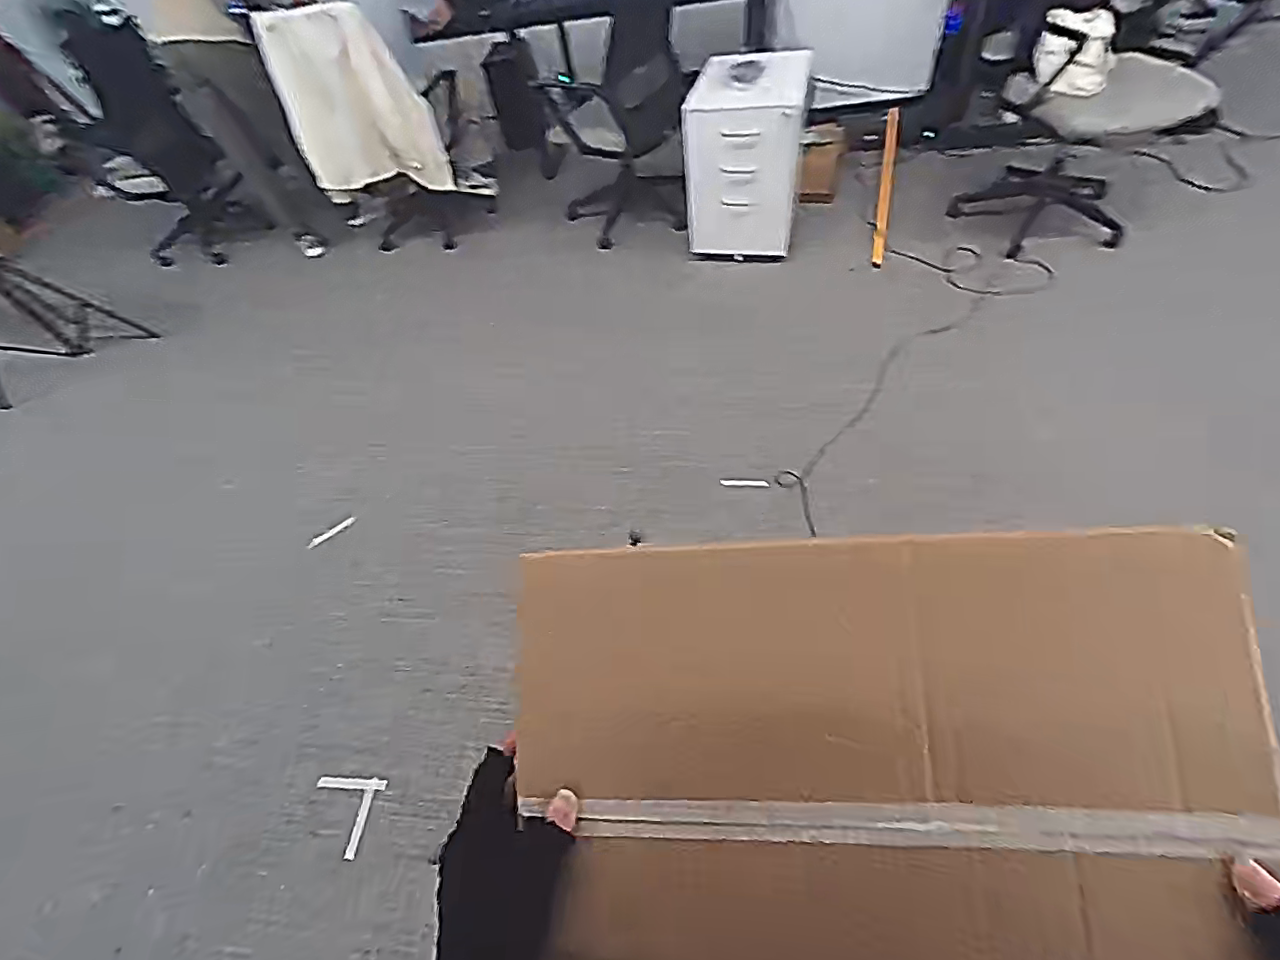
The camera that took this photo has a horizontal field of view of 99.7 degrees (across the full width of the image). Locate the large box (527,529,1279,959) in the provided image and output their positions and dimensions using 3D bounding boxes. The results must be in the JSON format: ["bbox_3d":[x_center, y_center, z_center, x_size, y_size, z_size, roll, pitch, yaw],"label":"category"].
[{"bbox_3d":[0.149,0.213,0.460,0.408,0.320,0.320,-4,83,9],"label":"large box"}]
